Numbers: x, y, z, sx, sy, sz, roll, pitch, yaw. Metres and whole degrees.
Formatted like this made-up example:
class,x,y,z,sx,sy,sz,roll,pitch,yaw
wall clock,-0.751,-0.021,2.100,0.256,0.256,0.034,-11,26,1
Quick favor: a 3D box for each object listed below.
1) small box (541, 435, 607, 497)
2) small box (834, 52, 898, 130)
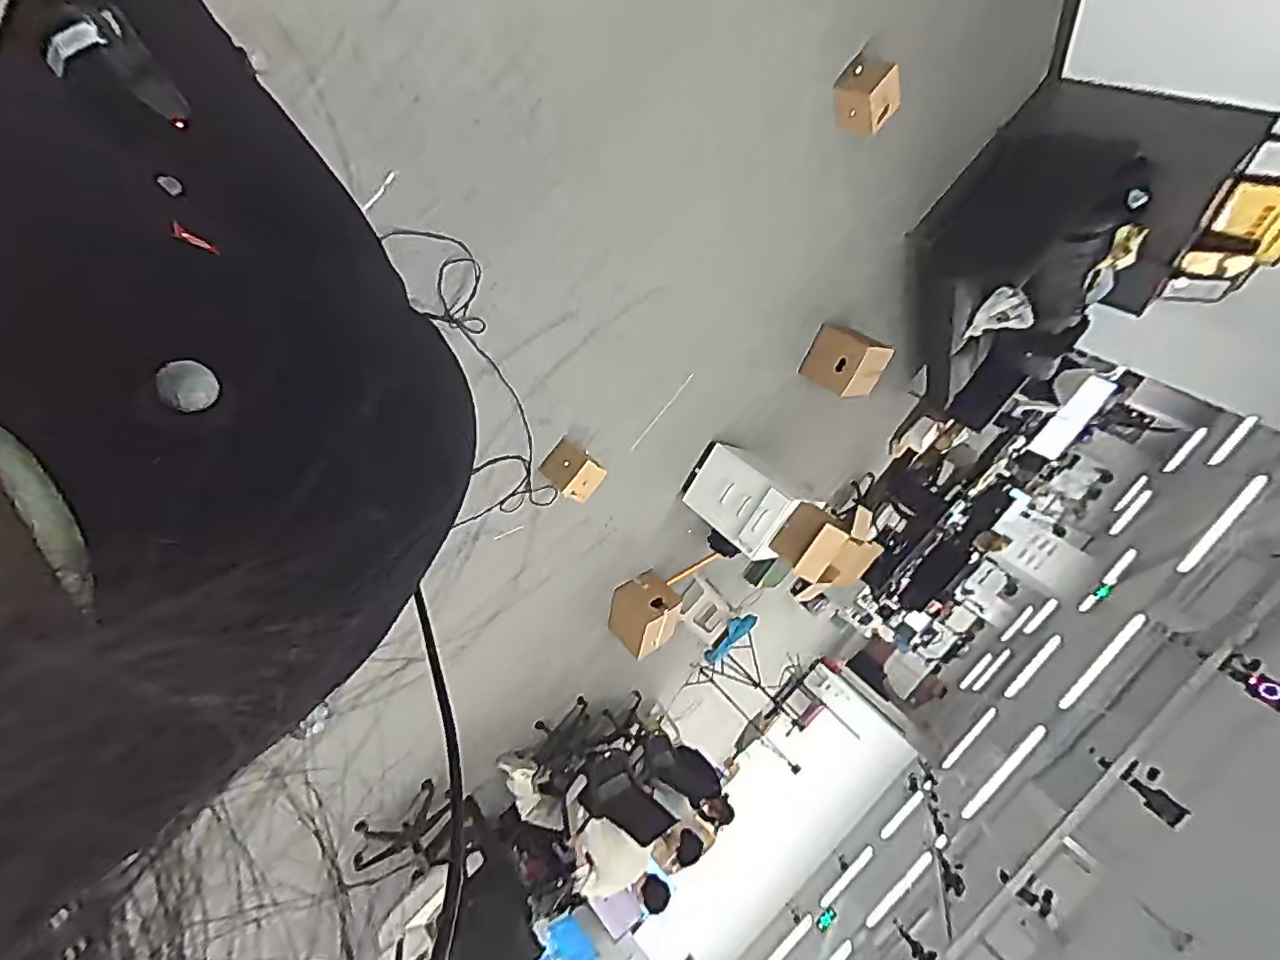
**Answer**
class,x,y,z,sx,sy,sz,roll,pitch,yaw
small box,-0.279,-0.061,2.263,0.179,0.176,0.168,-52,149,4
small box,0.882,-1.527,2.116,0.168,0.176,0.179,-49,149,1
